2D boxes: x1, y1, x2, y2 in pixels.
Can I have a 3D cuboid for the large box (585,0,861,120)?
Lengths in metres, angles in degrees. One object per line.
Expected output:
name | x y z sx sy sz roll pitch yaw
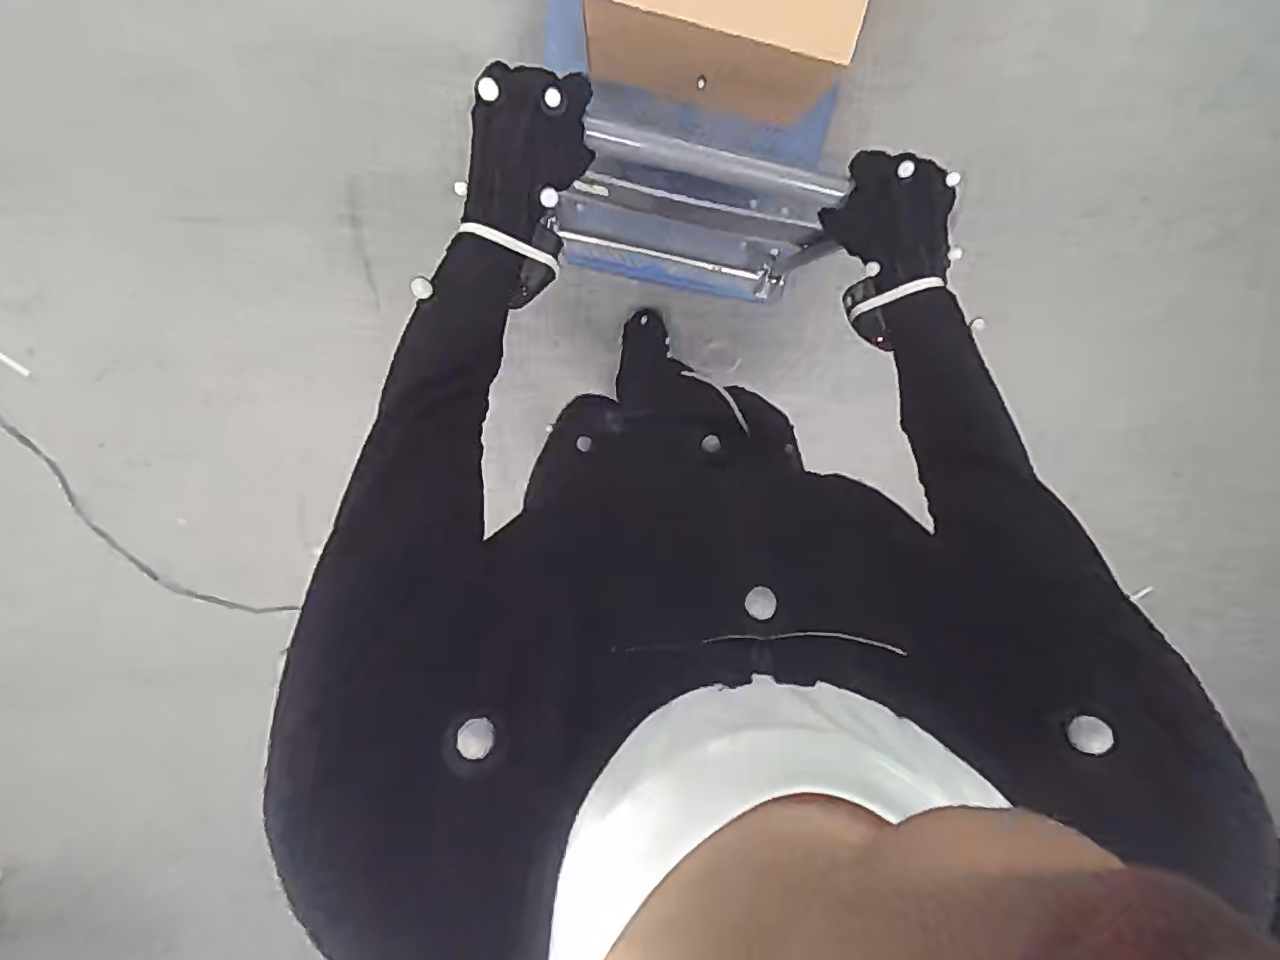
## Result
large box | 0.140 -0.850 0.887 0.408 0.320 0.320 11 106 -5
